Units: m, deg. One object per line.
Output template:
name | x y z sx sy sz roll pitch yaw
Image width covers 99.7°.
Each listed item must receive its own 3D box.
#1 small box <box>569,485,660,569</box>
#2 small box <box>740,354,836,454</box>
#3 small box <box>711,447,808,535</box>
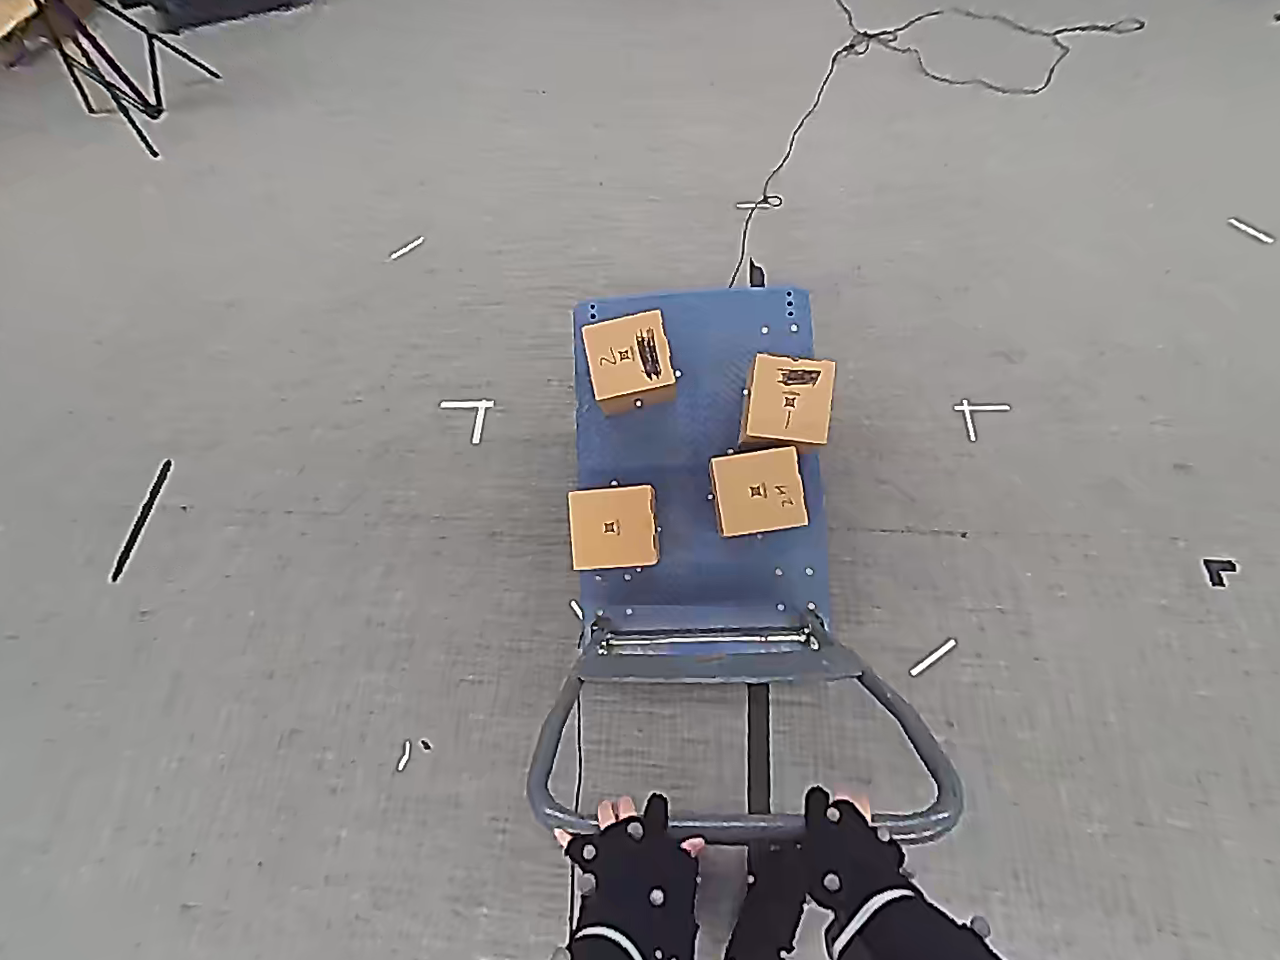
small box | -0.051 0.106 1.201 0.179 0.176 0.168 -5 85 3
small box | 0.318 -0.162 1.192 0.168 0.176 0.179 7 87 6
small box | 0.251 0.030 1.182 0.179 0.176 0.168 -9 85 4
